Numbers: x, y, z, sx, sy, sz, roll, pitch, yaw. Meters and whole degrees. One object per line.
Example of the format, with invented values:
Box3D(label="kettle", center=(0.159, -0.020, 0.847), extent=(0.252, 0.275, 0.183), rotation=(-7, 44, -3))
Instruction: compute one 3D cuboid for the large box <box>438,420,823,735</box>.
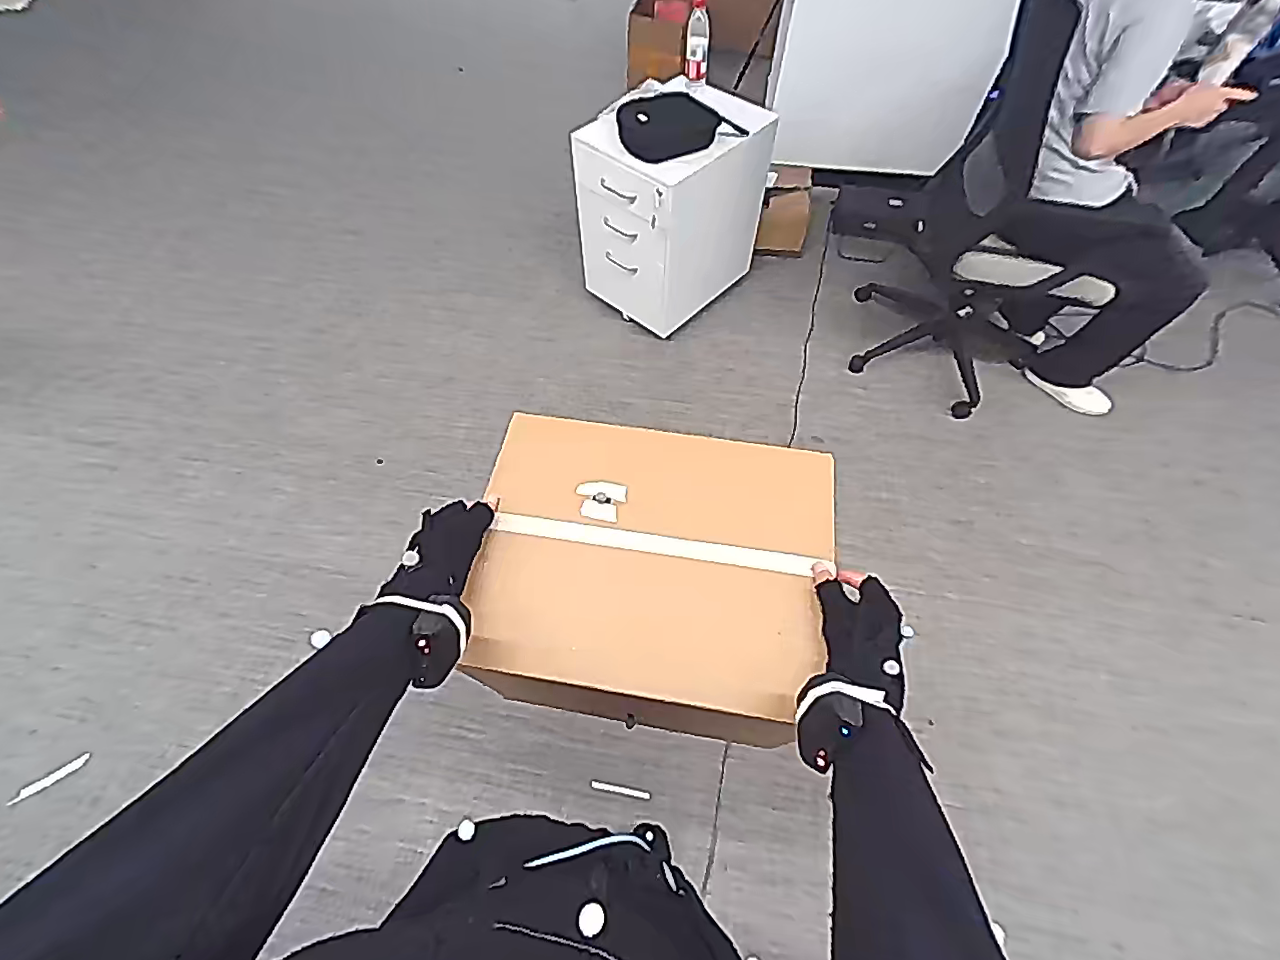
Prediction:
Box3D(label="large box", center=(0.012, 0.147, 0.746), extent=(0.408, 0.320, 0.320), rotation=(8, 60, 6))
